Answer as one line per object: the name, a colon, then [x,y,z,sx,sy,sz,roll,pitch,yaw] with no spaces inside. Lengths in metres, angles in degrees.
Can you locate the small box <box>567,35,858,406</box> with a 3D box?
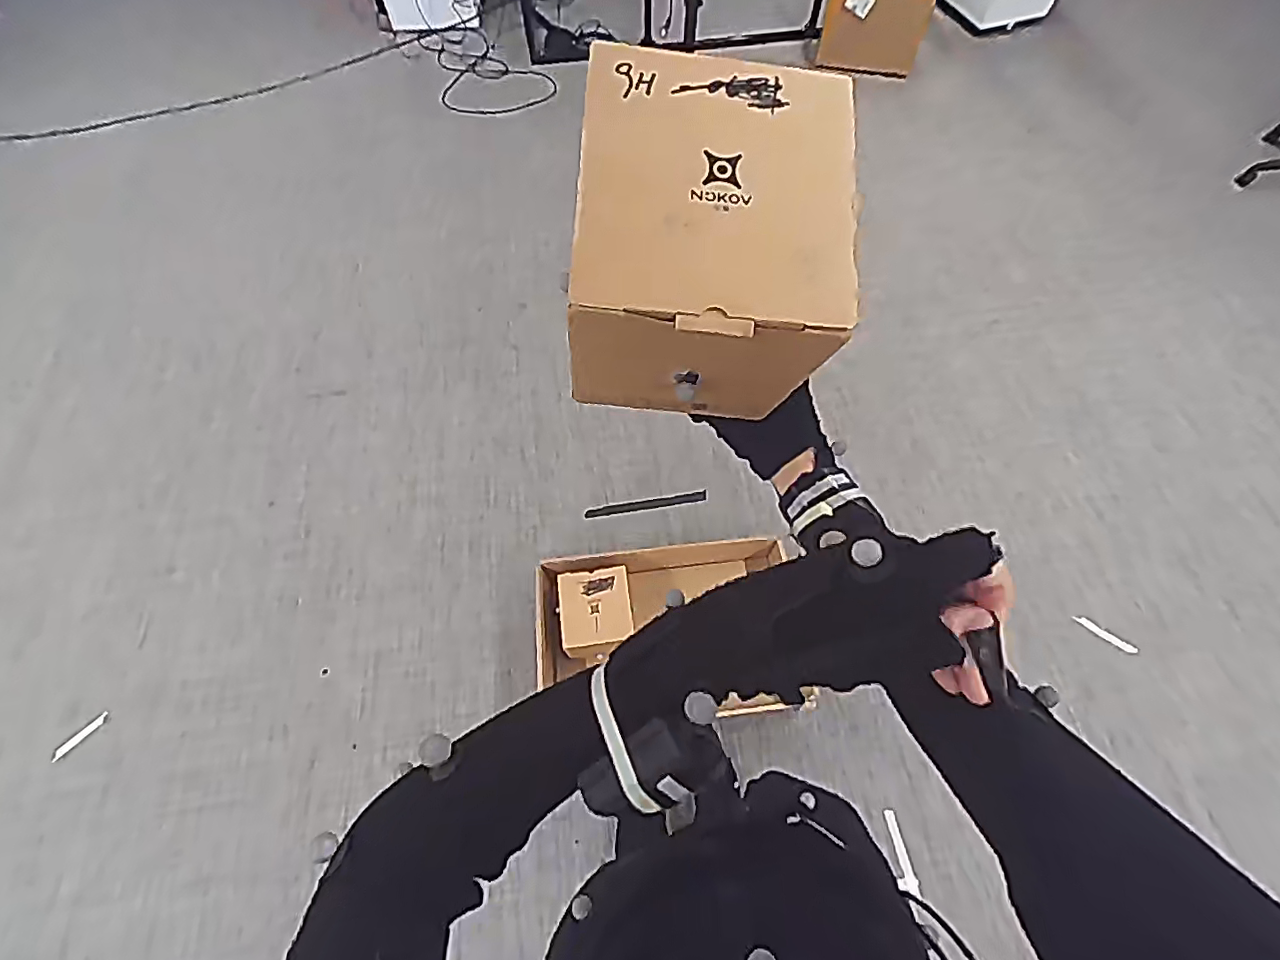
small box: [0.041,-0.162,0.394,0.168,0.176,0.179,4,80,-5]
